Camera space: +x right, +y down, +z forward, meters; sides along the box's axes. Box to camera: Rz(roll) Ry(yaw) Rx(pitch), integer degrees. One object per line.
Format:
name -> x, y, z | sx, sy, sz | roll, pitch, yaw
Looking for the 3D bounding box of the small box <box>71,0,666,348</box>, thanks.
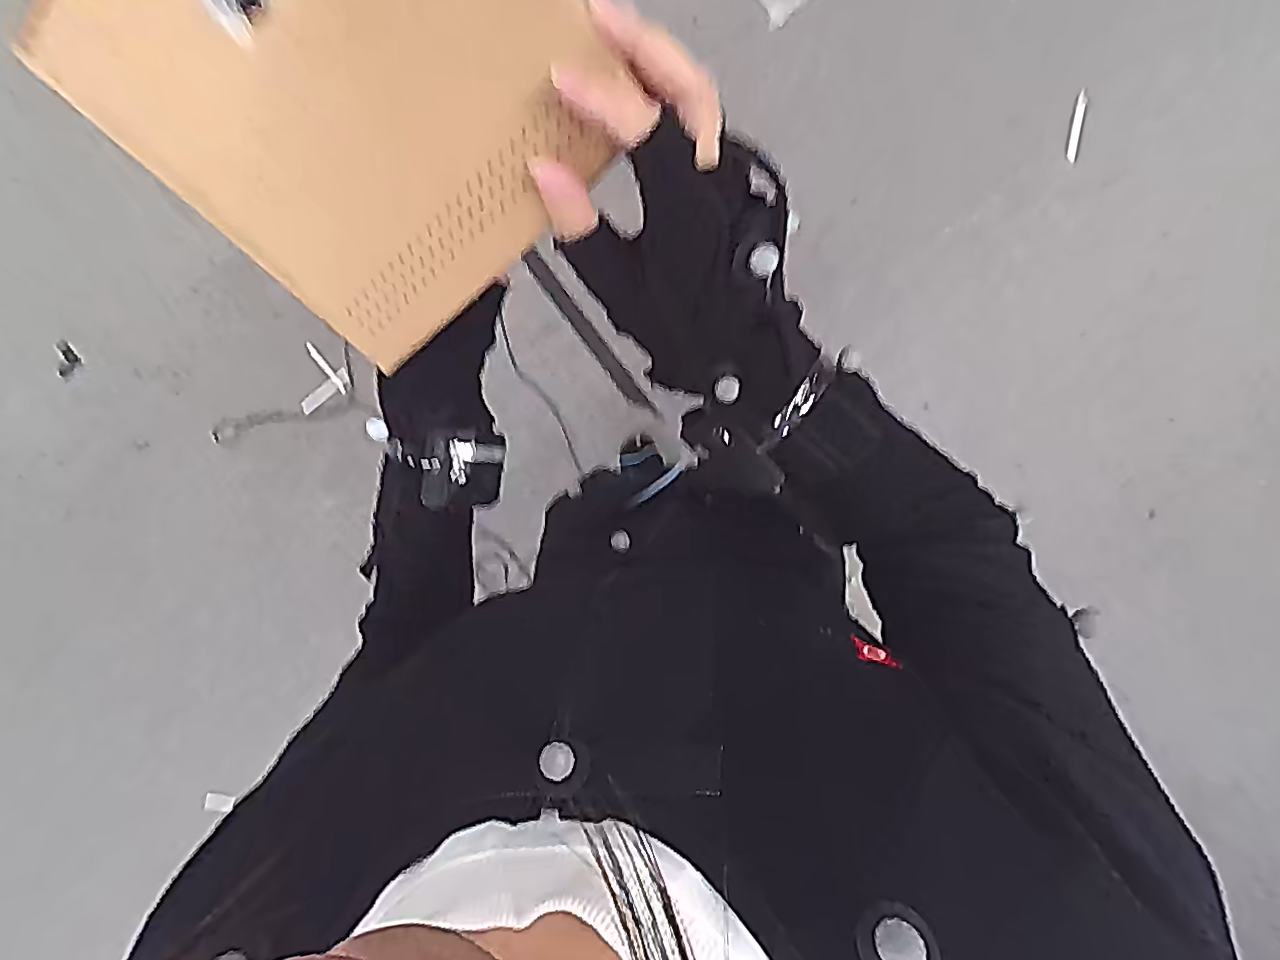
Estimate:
small box -> -0.106, -0.202, 0.282 | 0.179, 0.168, 0.176 | -32, 123, 21
